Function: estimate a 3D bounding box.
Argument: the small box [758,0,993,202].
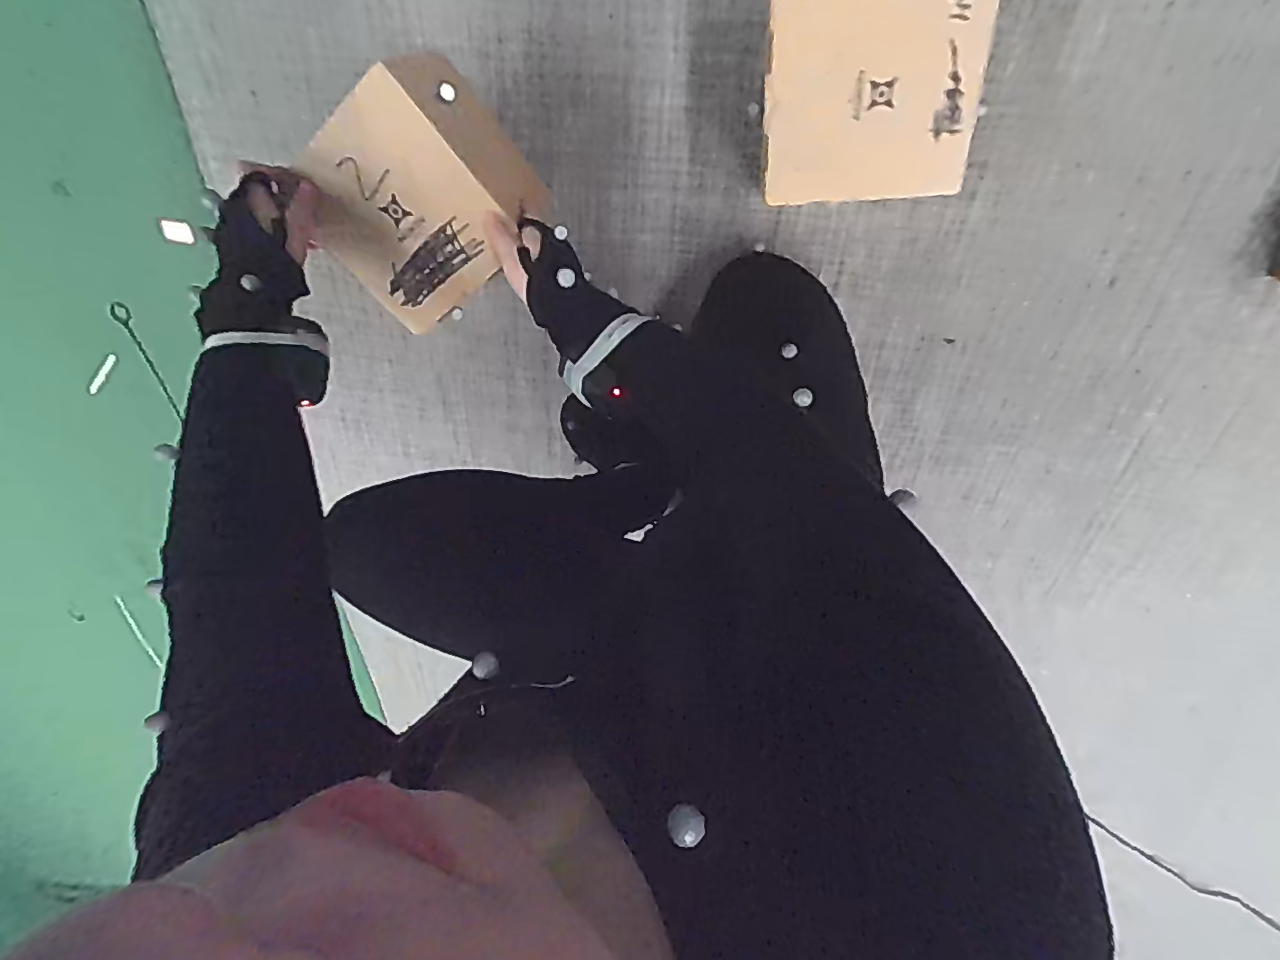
[{"bbox_3d":[0.211,-0.374,0.534,0.179,0.176,0.168,2,122,12],"label":"small box"}]
